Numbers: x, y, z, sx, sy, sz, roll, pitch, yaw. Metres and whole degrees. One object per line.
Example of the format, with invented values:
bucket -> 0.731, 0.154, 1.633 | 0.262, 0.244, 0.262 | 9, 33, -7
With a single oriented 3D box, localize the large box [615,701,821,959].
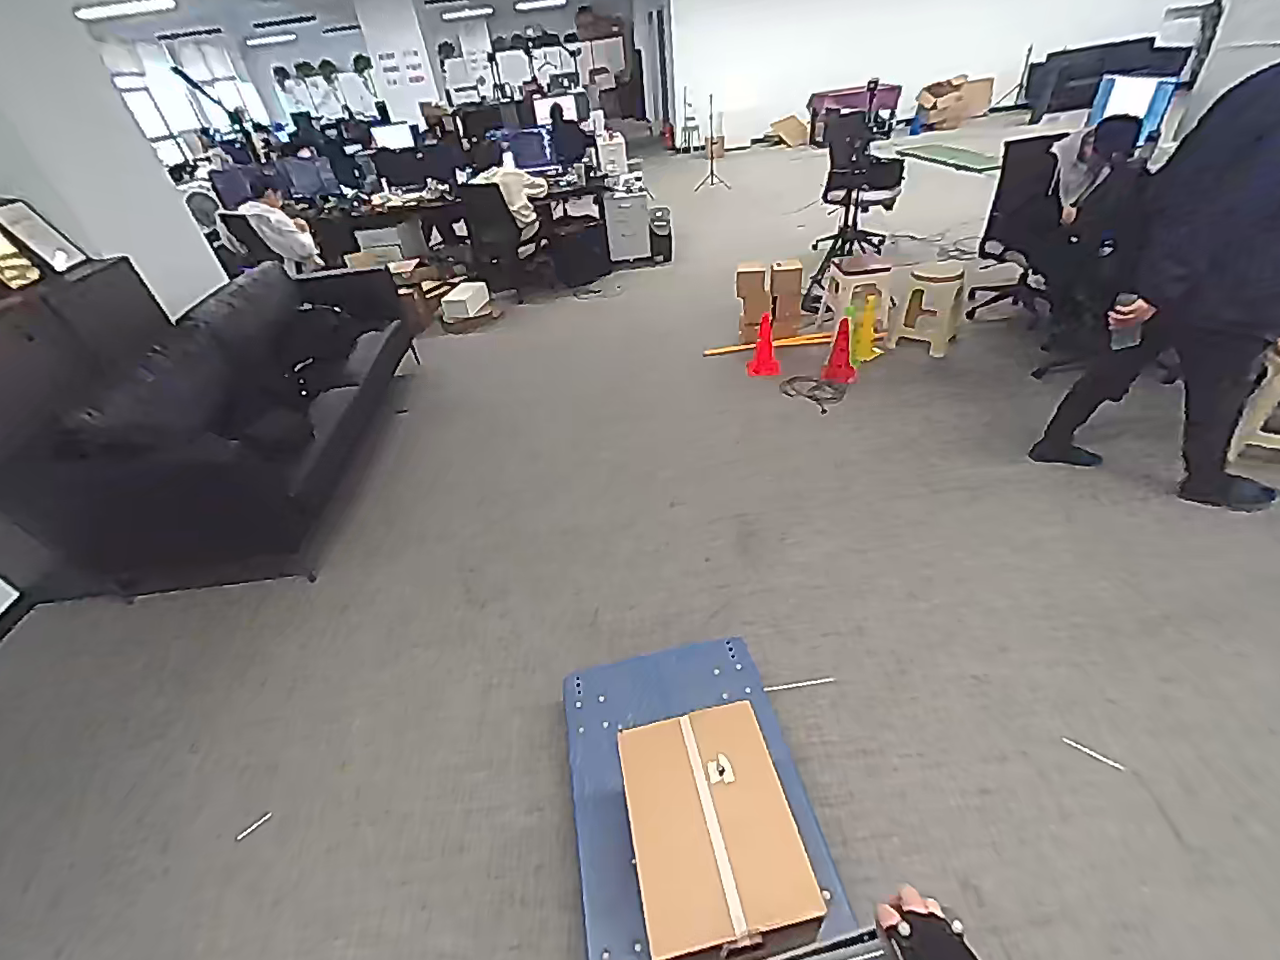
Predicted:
large box -> 0.149, 0.774, 1.172 | 0.320, 0.320, 0.408 | -12, 38, -5
